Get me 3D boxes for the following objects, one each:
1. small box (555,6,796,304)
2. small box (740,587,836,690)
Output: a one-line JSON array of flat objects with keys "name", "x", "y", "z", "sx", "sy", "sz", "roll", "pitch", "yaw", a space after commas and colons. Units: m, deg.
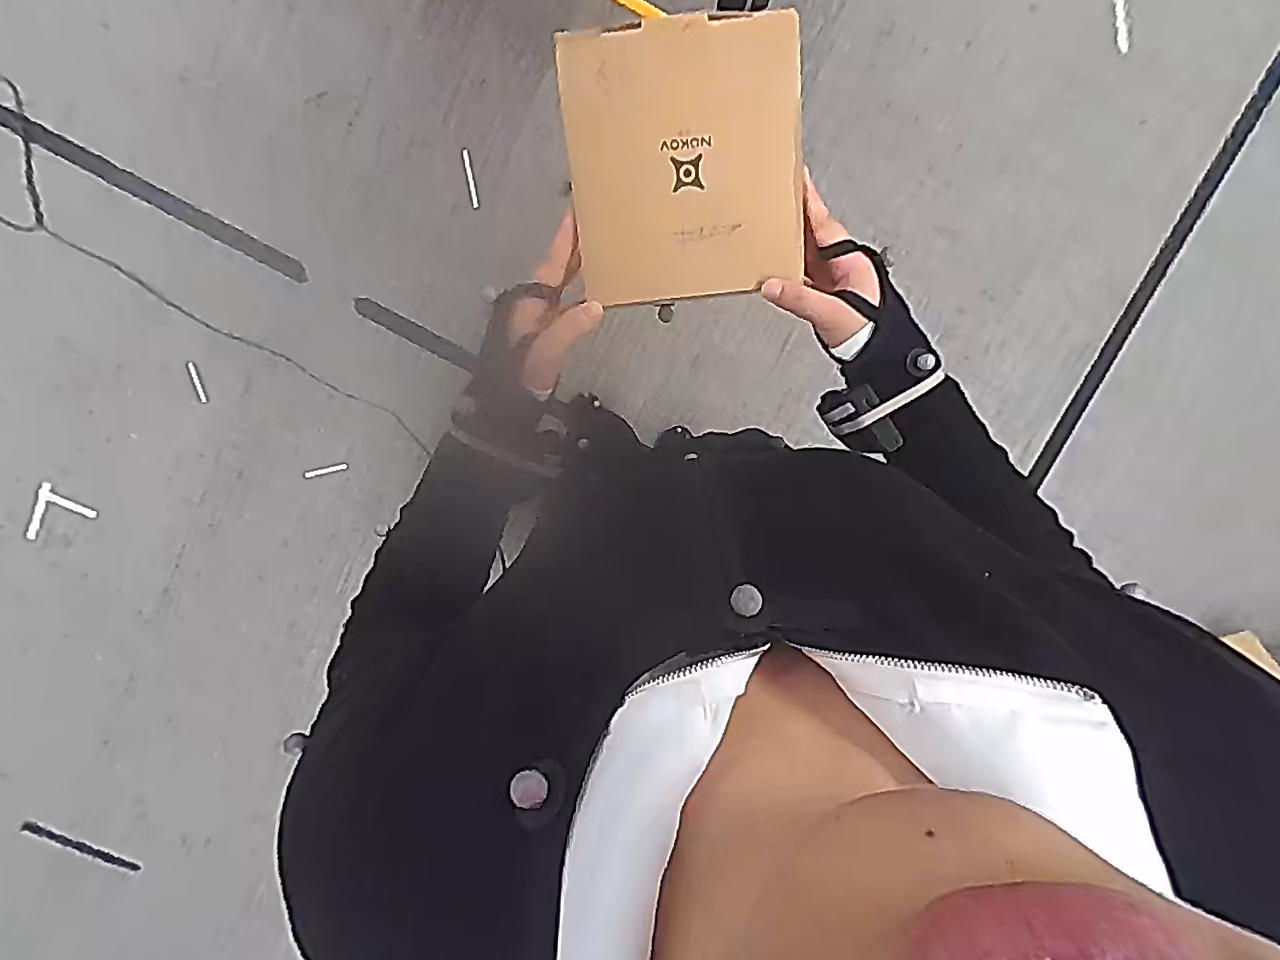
[{"name": "small box", "x": 0.025, "y": -0.251, "z": 0.462, "sx": 0.168, "sy": 0.176, "sz": 0.179, "roll": -7, "pitch": 107, "yaw": -1}, {"name": "small box", "x": 0.394, "y": 0.427, "z": 1.481, "sx": 0.168, "sy": 0.176, "sz": 0.179, "roll": 40, "pitch": 96, "yaw": -6}]
